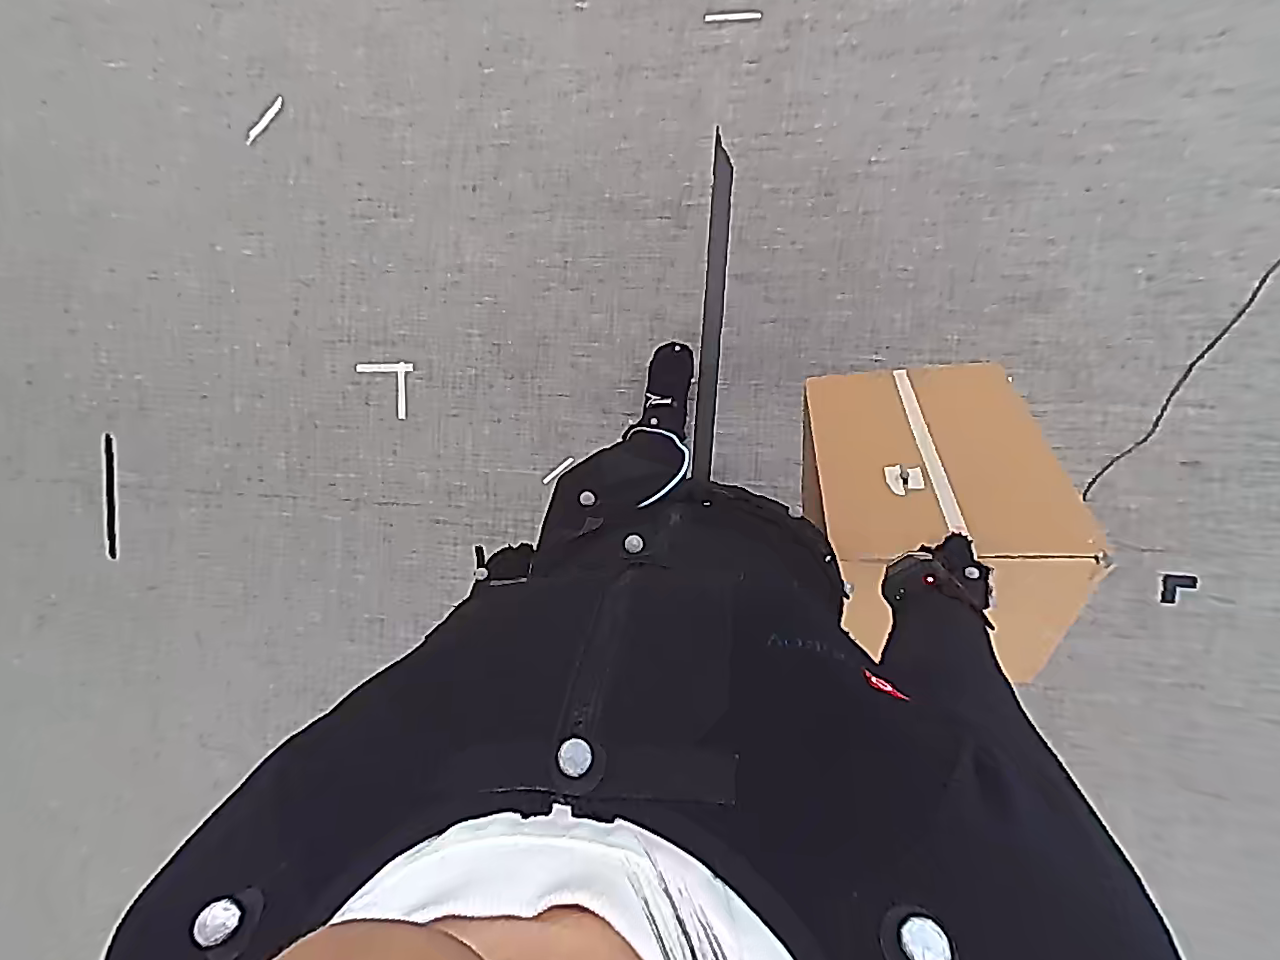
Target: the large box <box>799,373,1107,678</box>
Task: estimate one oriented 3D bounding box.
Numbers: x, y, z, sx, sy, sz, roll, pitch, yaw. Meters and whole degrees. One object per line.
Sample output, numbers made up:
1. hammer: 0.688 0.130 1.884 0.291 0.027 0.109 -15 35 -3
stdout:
1. large box: 0.447 0.069 0.903 0.320 0.408 0.320 -3 135 13
